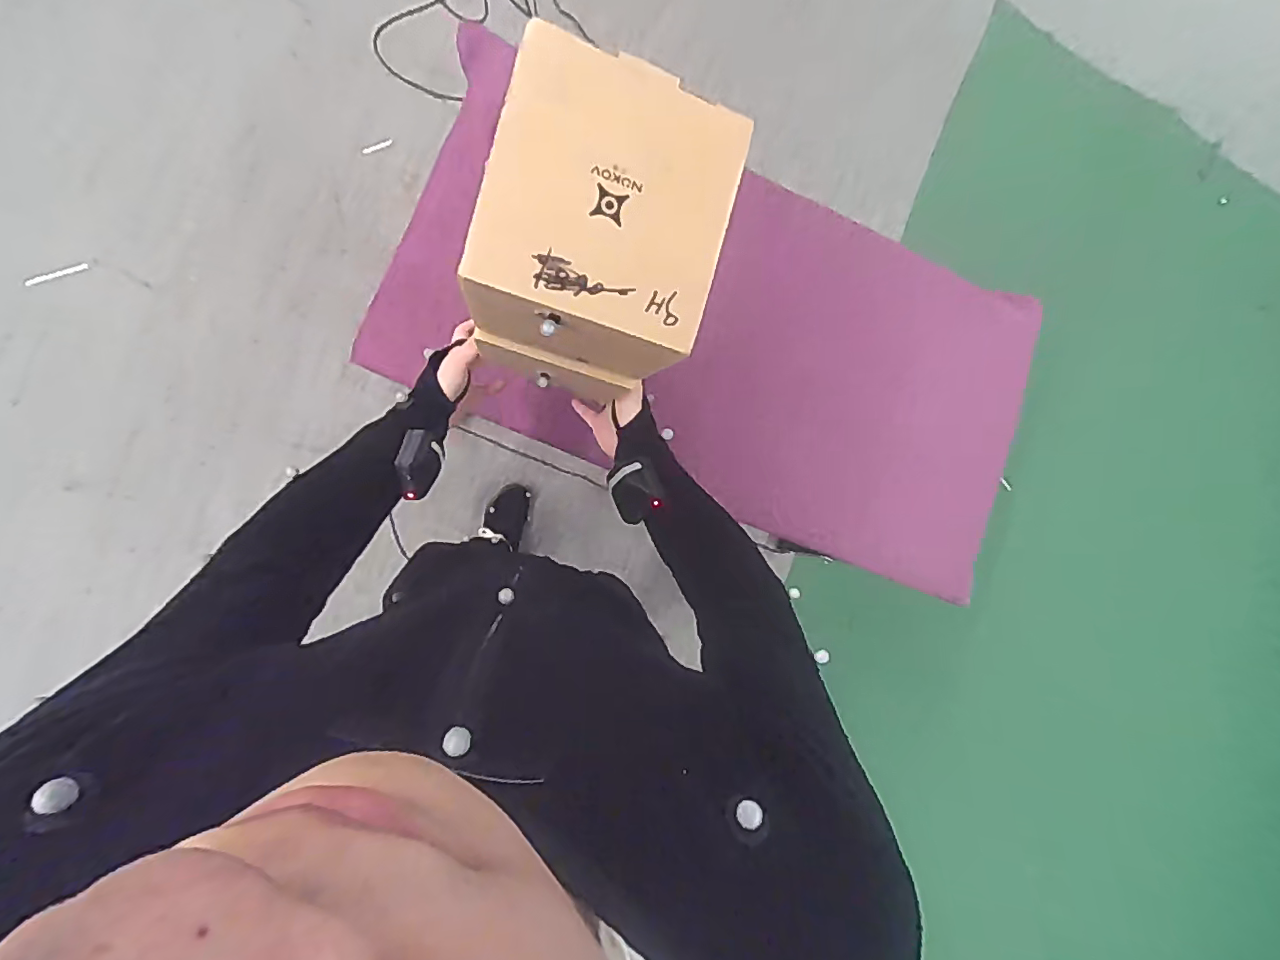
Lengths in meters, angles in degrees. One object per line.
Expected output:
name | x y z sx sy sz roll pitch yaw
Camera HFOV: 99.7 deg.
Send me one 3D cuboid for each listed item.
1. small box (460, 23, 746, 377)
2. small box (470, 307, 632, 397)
small box | -0.038 -0.201 0.449 0.168 0.176 0.179 16 90 -13
small box | -0.079 -0.201 0.608 0.168 0.176 0.179 16 90 -14
